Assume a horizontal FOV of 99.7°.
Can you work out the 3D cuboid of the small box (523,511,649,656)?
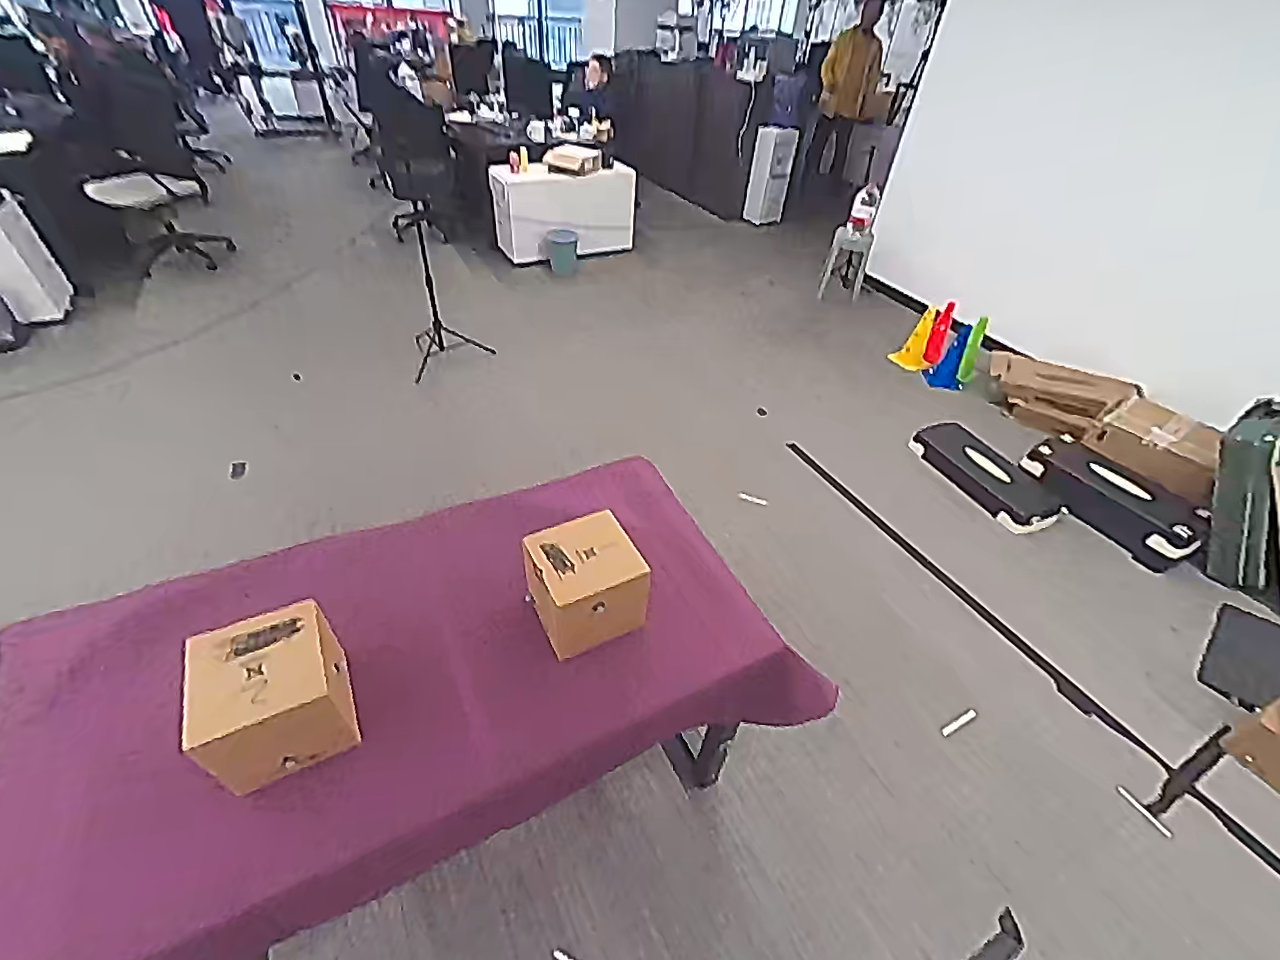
[{"bbox_3d":[-0.098,0.190,0.992,0.179,0.176,0.168,-17,47,-23],"label":"small box"}]
